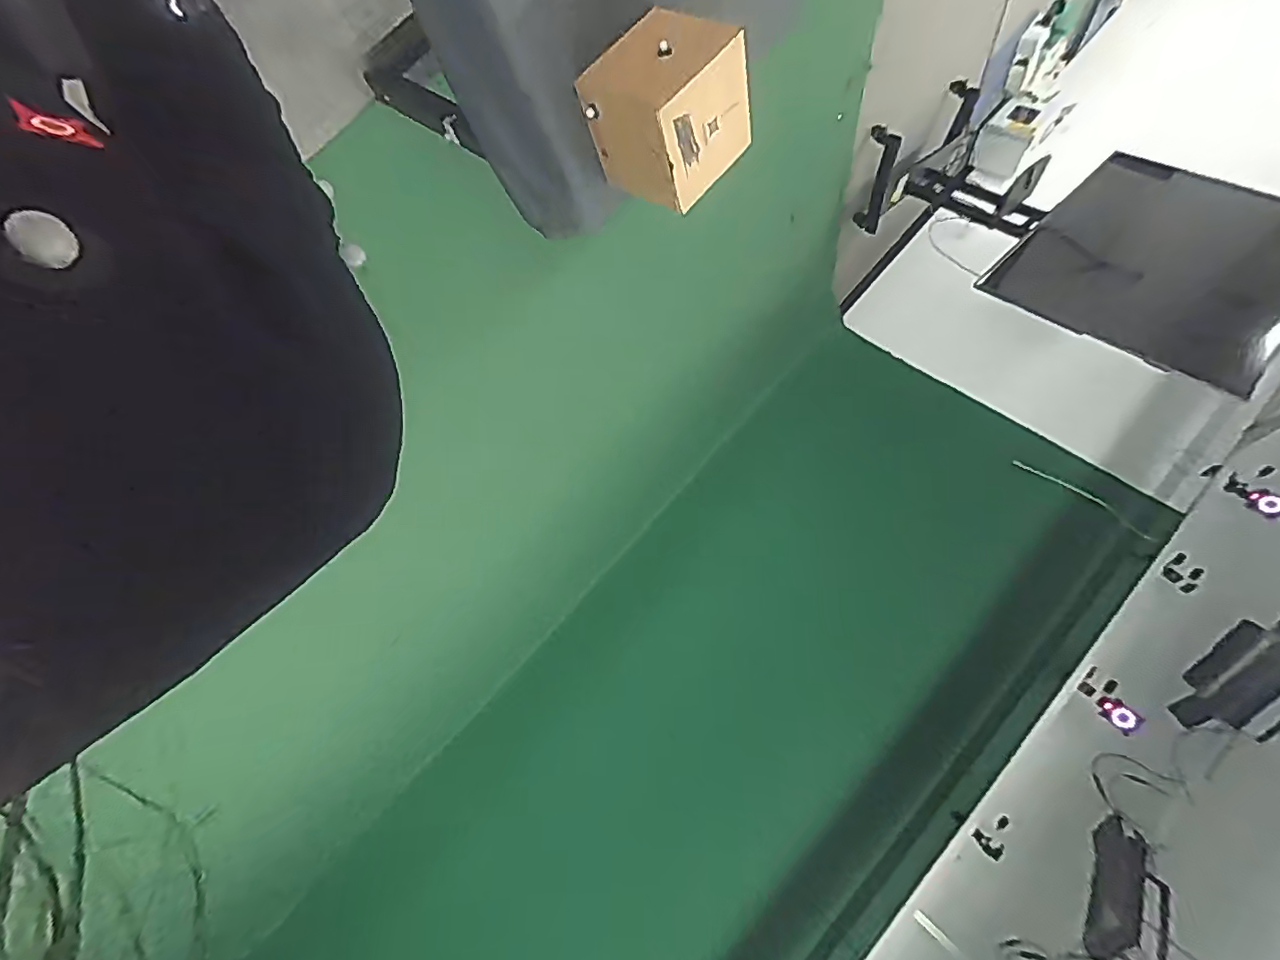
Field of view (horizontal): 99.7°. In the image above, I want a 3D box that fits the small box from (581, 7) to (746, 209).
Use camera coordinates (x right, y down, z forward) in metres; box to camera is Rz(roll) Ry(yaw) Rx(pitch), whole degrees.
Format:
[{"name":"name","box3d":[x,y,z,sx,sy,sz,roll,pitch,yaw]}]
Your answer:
[{"name":"small box","box3d":[0.034,-0.552,0.805,0.179,0.176,0.168,-48,155,-8]}]
